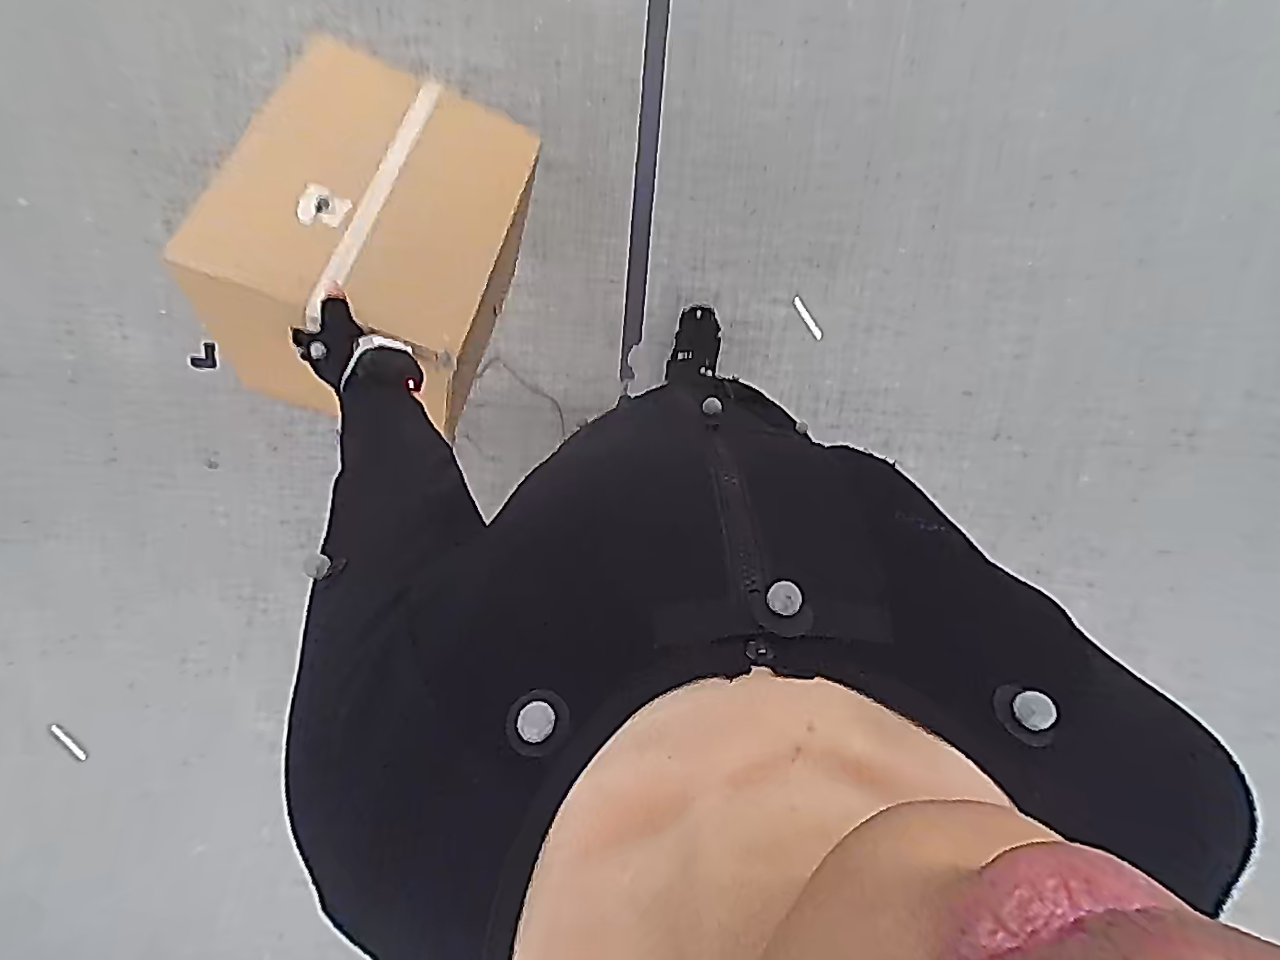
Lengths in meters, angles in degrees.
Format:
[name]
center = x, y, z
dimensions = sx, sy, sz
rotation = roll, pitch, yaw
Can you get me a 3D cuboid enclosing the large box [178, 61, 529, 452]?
[large box]
center = -0.390, -0.313, 0.840
dimensions = 0.320, 0.320, 0.408
rotation = 17, 66, -14
